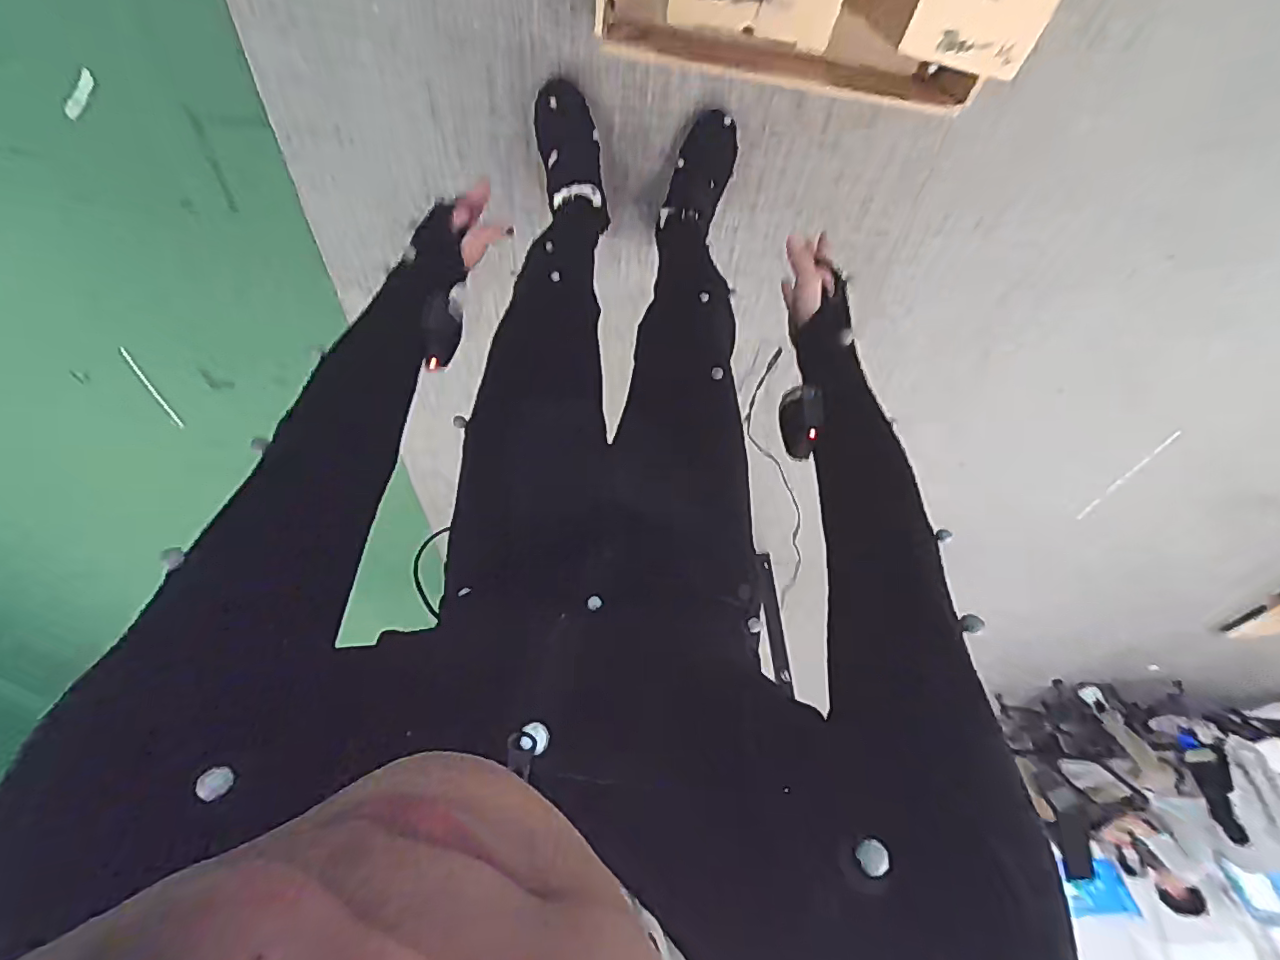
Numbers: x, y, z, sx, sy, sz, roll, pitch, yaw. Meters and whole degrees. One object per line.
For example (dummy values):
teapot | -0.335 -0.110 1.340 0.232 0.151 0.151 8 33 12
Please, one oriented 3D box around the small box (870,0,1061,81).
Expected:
small box | 0.414 -0.639 0.670 0.168 0.176 0.179 8 139 -9

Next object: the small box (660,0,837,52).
small box | 0.114 -0.551 0.518 0.168 0.176 0.179 5 138 -7
